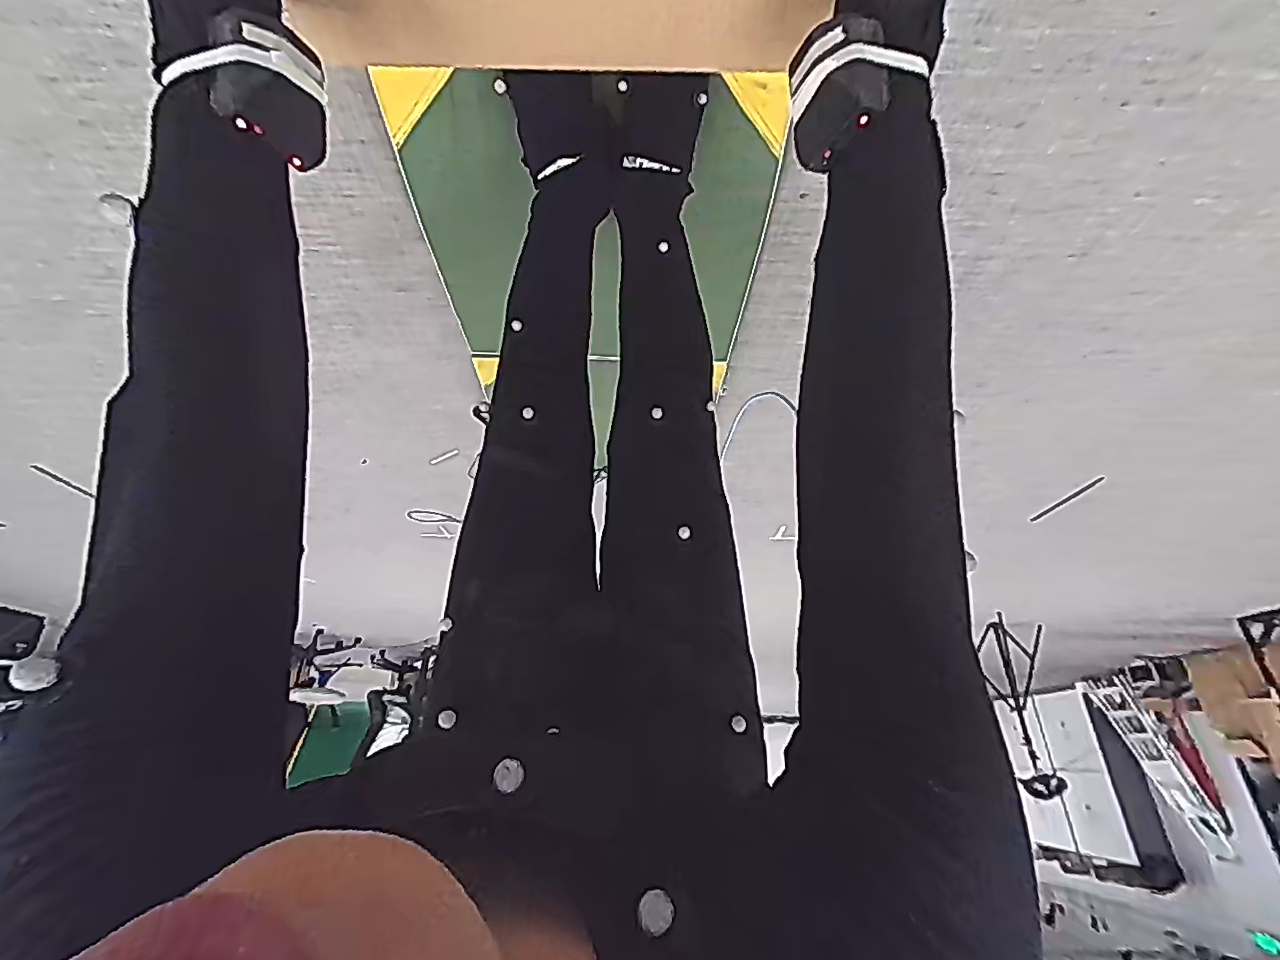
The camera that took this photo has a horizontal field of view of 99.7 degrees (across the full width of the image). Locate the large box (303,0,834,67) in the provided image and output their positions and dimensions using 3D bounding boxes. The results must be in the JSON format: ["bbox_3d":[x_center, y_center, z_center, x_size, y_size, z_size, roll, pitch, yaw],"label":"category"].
[{"bbox_3d":[-0.055,-0.543,0.386,0.408,0.320,0.320,0,149,0],"label":"large box"}]
